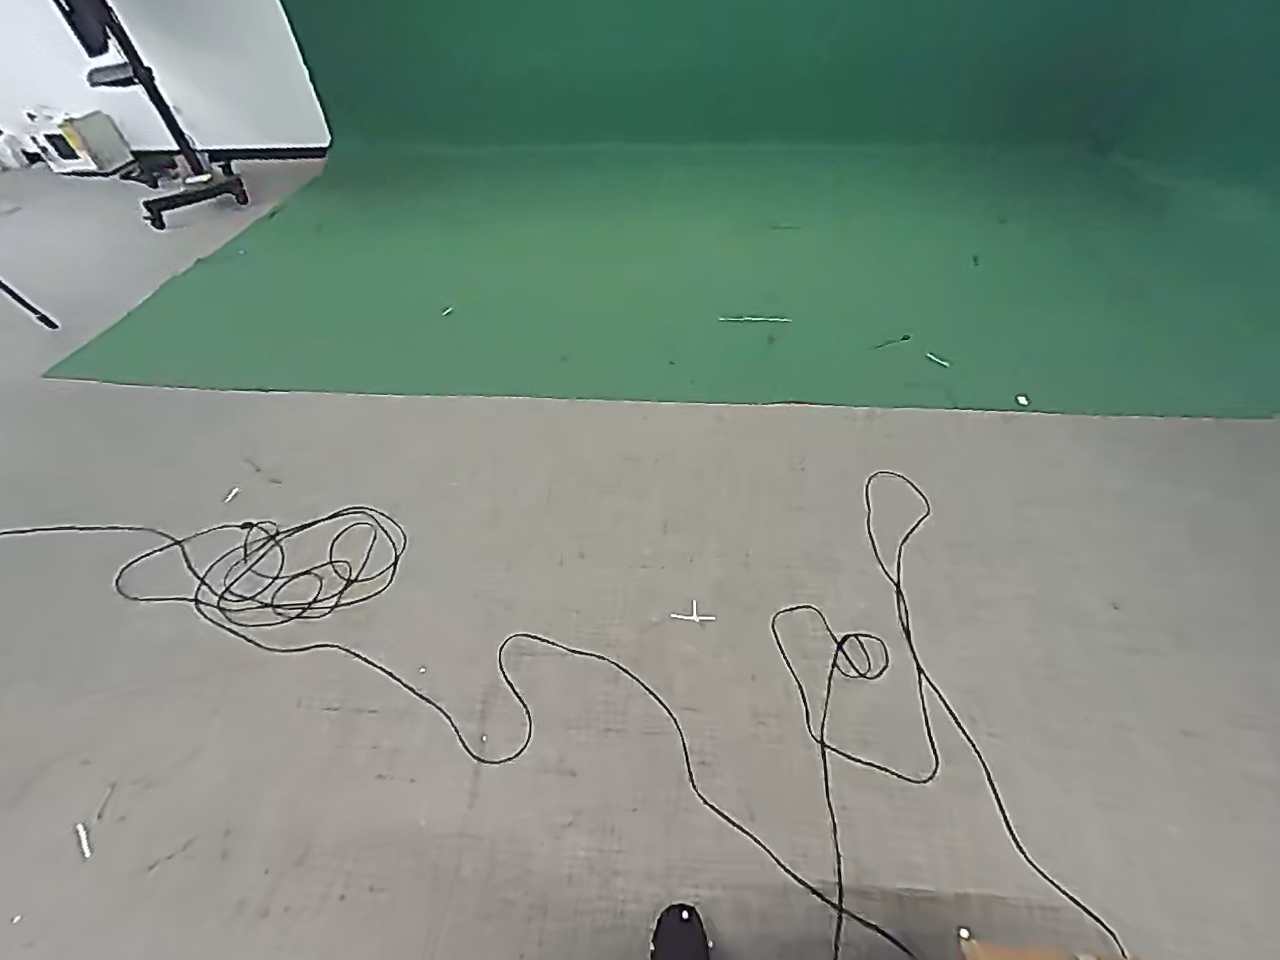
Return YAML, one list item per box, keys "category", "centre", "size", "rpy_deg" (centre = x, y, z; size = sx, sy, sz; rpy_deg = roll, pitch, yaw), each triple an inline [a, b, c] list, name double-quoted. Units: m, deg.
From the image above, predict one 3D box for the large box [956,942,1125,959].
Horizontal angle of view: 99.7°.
- category: "large box"
  centre: [0.564, 0.778, 0.530]
  size: [0.320, 0.408, 0.320]
  rpy_deg: [1, 82, 10]
